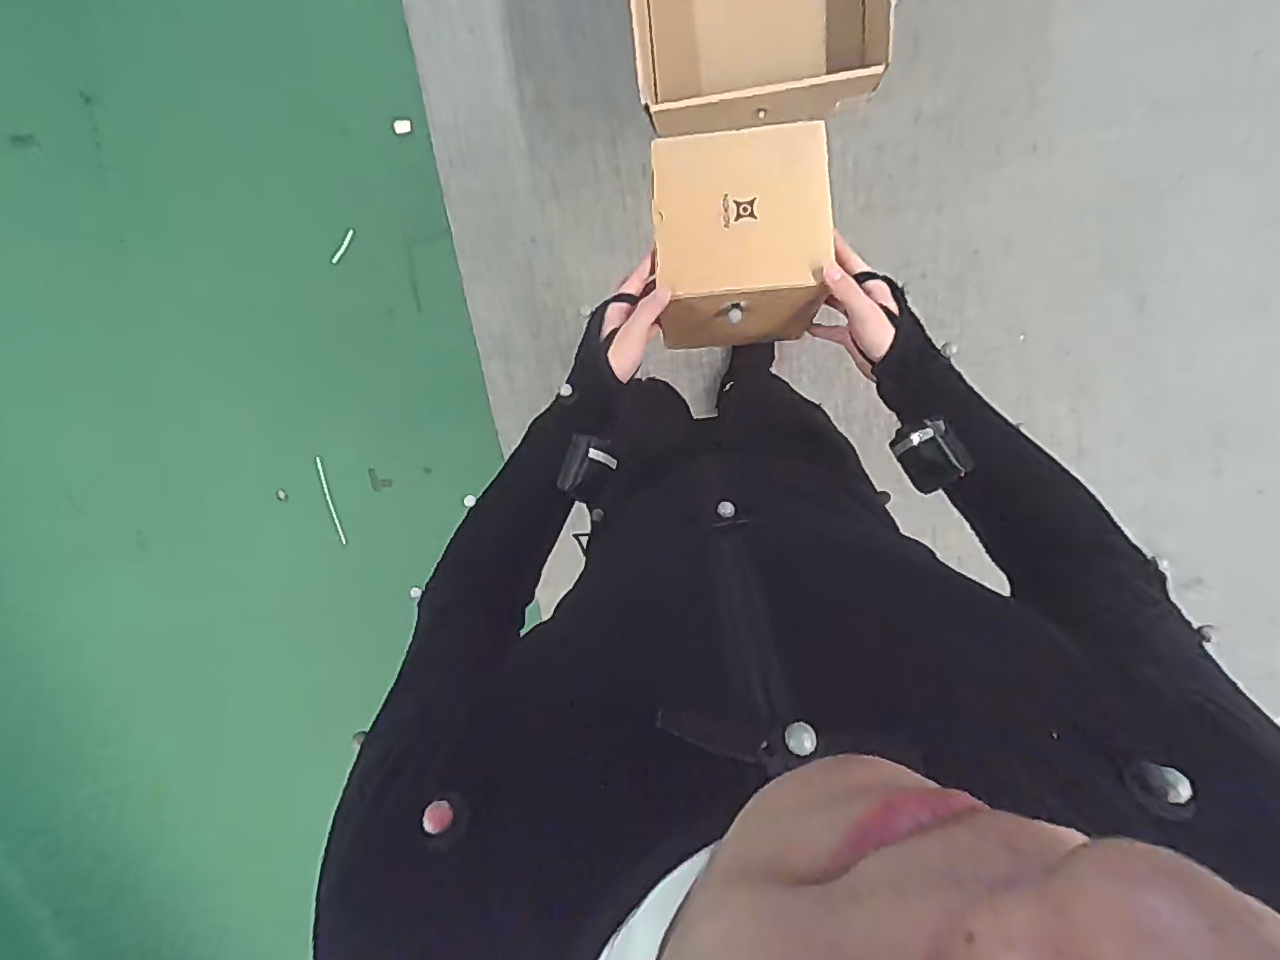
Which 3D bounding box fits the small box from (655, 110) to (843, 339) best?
[{"bbox_3d":[0.113,-0.267,0.604,0.179,0.176,0.168,-3,86,7],"label":"small box"}]
